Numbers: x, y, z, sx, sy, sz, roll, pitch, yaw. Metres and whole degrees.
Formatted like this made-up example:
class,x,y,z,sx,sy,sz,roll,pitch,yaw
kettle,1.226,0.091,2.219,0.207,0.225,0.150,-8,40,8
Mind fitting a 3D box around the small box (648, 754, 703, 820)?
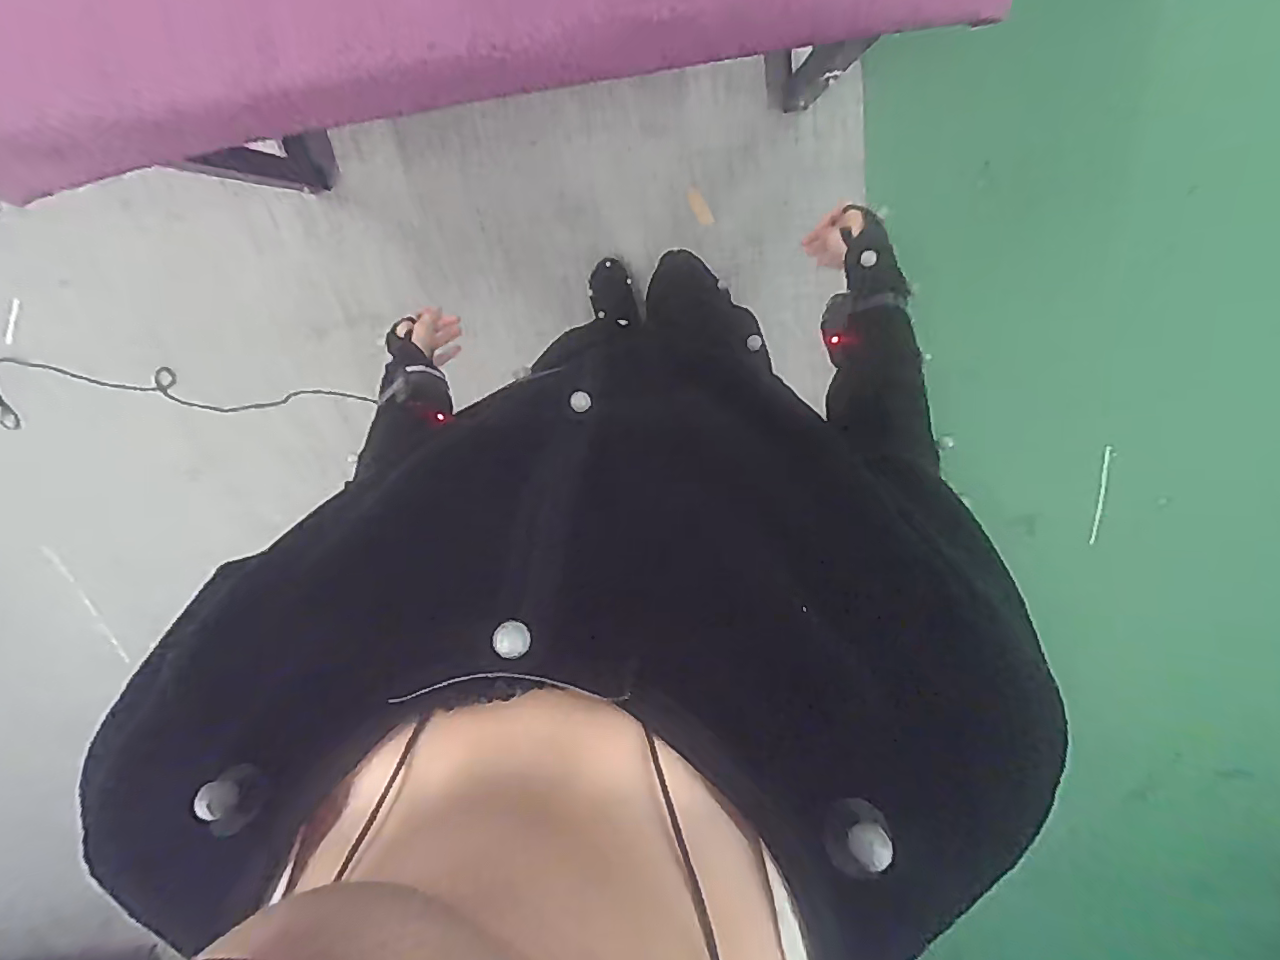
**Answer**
class,x,y,z,sx,sy,sz,roll,pitch,yaw
small box,0.124,1.104,1.925,0.168,0.176,0.179,-11,113,5
